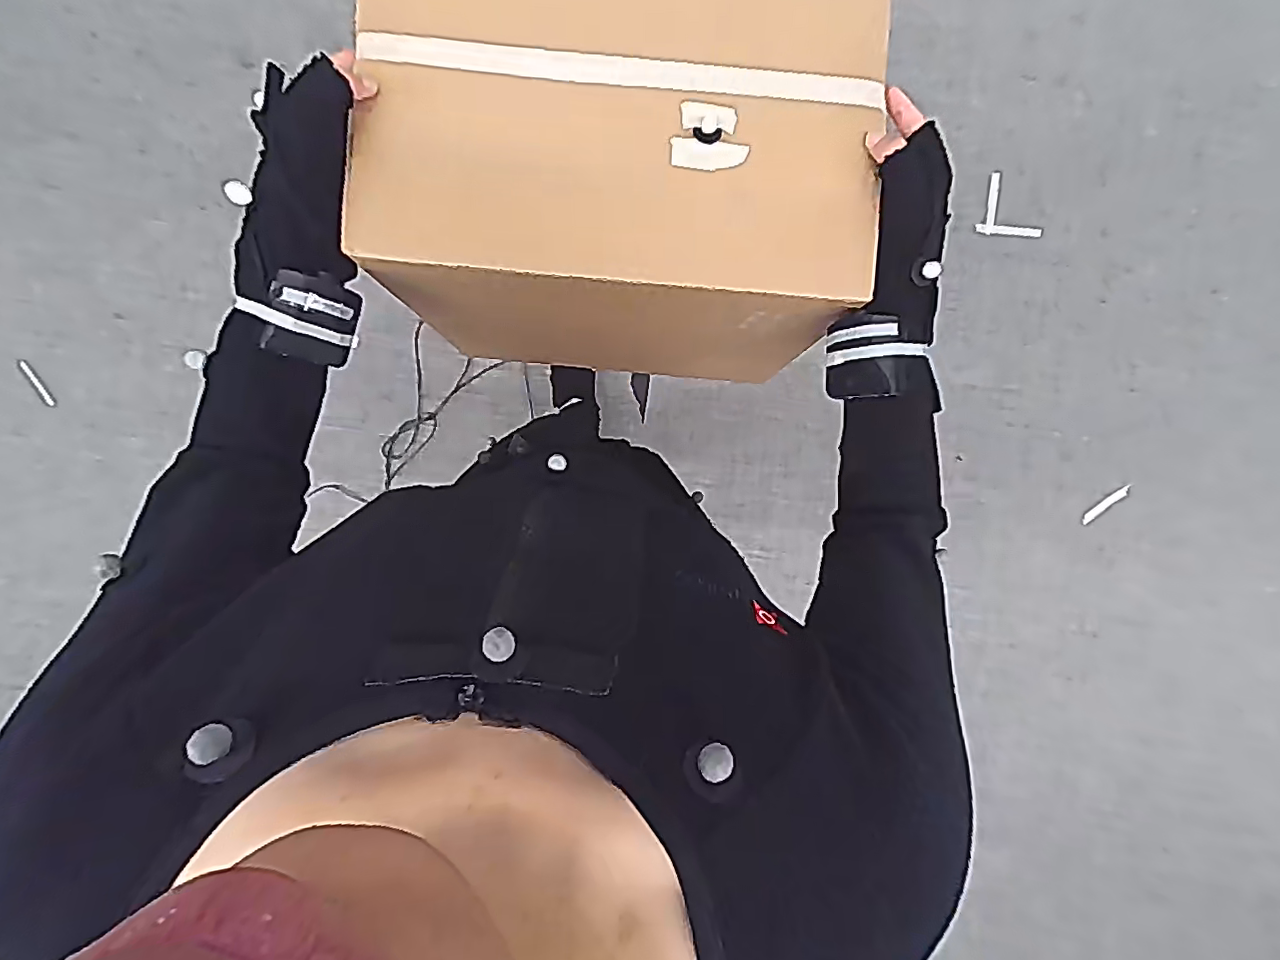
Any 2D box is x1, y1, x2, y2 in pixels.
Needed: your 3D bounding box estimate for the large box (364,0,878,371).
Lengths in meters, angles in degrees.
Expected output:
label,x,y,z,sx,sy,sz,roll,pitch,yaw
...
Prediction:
label,x,y,z,sx,sy,sz,roll,pitch,yaw
large box,-0.016,-0.313,0.579,0.408,0.320,0.320,4,89,-2
